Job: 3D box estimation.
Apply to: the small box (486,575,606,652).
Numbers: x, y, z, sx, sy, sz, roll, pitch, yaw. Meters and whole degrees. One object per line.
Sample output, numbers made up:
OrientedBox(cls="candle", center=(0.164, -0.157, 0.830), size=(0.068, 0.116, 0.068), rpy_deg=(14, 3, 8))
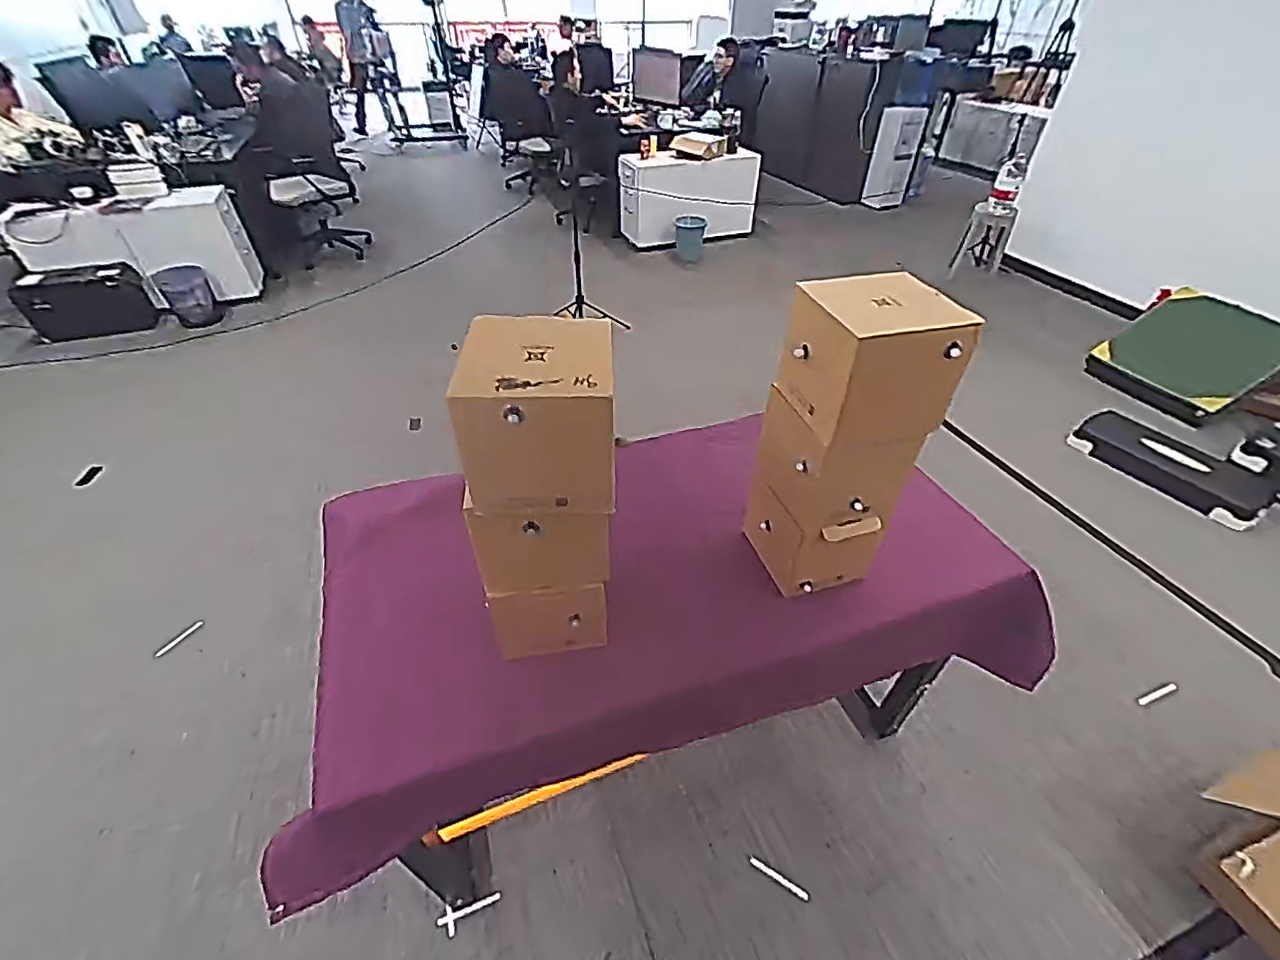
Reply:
OrientedBox(cls="small box", center=(-0.146, 0.160, 0.872), size=(0.168, 0.176, 0.179), rpy_deg=(-5, 42, -7))

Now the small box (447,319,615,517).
OrientedBox(cls="small box", center=(-0.114, -0.075, 0.644), size=(0.168, 0.176, 0.179), rpy_deg=(-1, 42, -3))

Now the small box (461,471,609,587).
OrientedBox(cls="small box", center=(-0.139, 0.036, 0.765), size=(0.179, 0.176, 0.168), rpy_deg=(-4, 43, -7))

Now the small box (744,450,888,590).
OrientedBox(cls="small box", center=(0.301, 0.076, 0.966), size=(0.168, 0.176, 0.179), rpy_deg=(-12, 42, -13))

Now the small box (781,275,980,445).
OrientedBox(cls="small box", center=(0.310, -0.165, 0.746), size=(0.179, 0.176, 0.168), rpy_deg=(-9, 43, -11))
